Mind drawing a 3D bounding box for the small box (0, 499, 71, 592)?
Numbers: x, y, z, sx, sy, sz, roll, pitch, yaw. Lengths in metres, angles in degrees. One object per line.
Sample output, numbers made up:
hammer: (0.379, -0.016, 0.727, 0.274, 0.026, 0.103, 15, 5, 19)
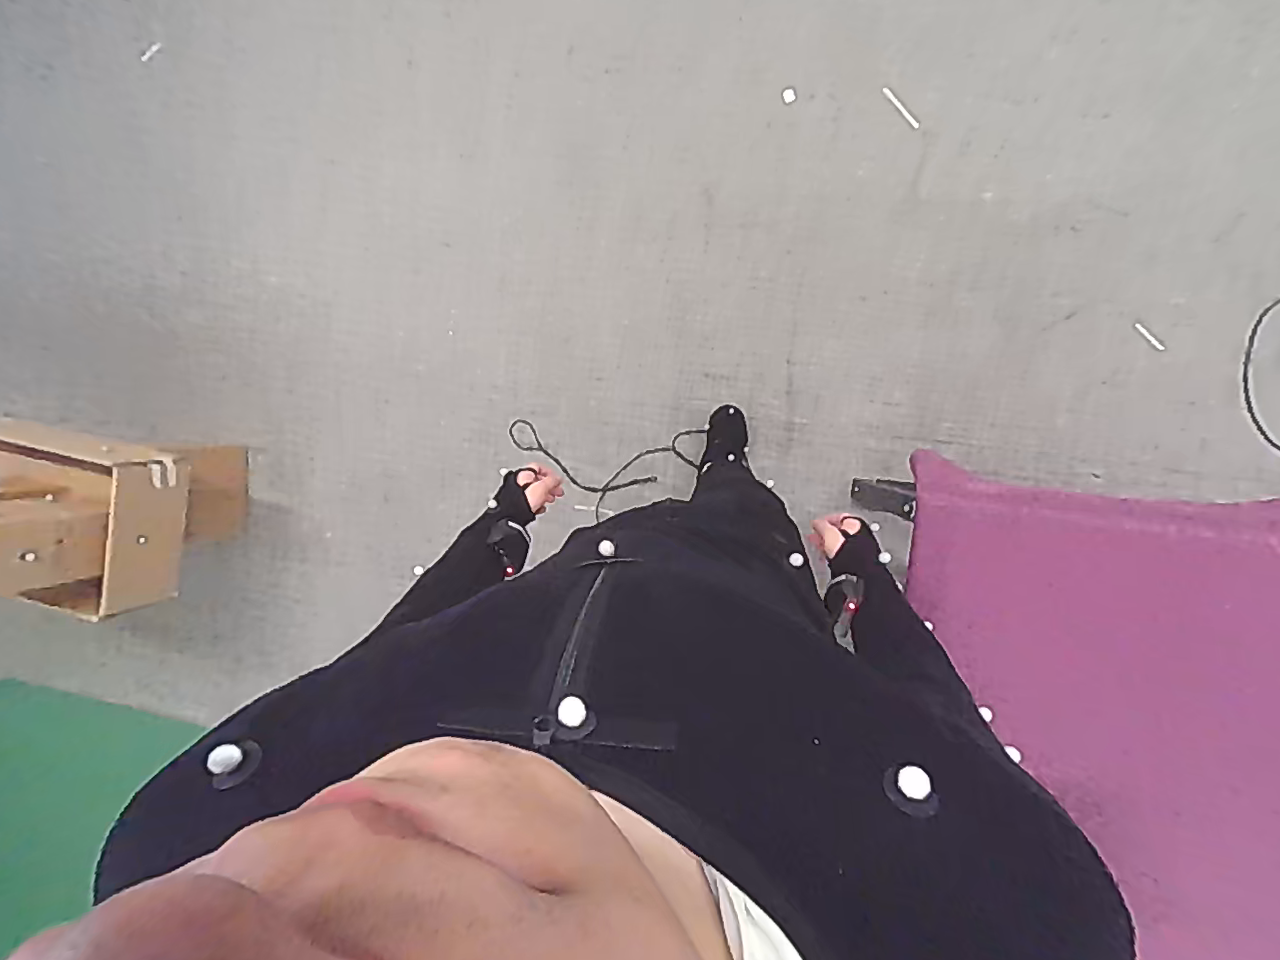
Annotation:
small box: (-1.433, 0.143, 1.203, 0.179, 0.176, 0.168, 12, 95, 8)

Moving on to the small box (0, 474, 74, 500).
small box: (-1.649, 0.078, 1.406, 0.179, 0.176, 0.168, 10, 95, 6)

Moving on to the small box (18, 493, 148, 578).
small box: (-1.405, 0.131, 1.363, 0.179, 0.176, 0.168, 12, 96, 10)
